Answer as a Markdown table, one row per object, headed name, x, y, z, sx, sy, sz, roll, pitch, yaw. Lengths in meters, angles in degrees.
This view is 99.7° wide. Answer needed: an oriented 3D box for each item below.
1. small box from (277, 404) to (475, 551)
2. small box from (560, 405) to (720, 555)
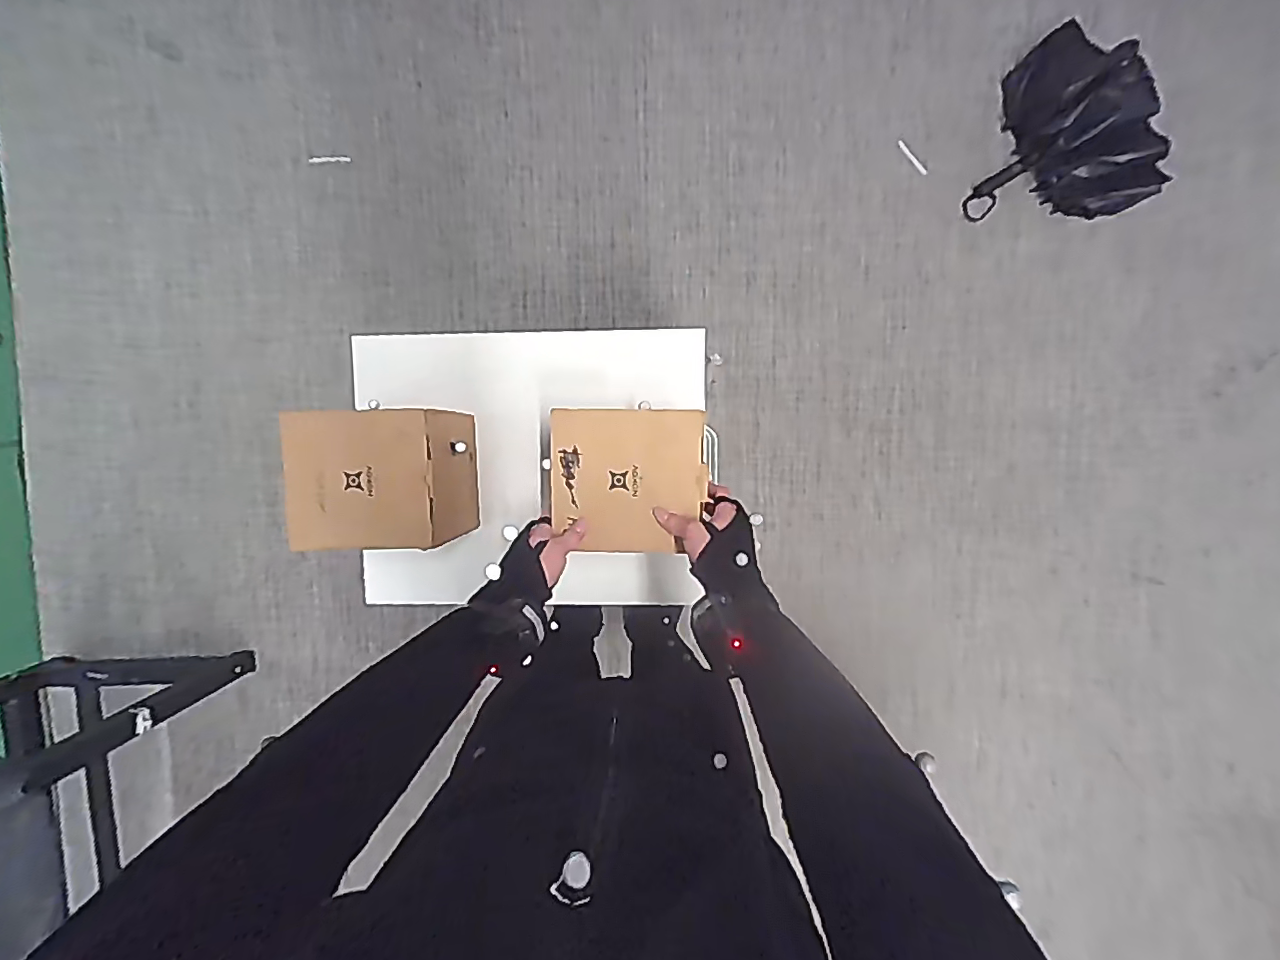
| name | x | y | z | sx | sy | sz | roll | pitch | yaw |
| --- | --- | --- | --- | --- | --- | --- | --- | --- | --- |
| small box | -0.314 | -0.006 | 0.681 | 0.179 | 0.176 | 0.168 | -2 | 92 | 0 |
| small box | -0.001 | -0.005 | 0.679 | 0.179 | 0.176 | 0.168 | 1 | 93 | 1 |
